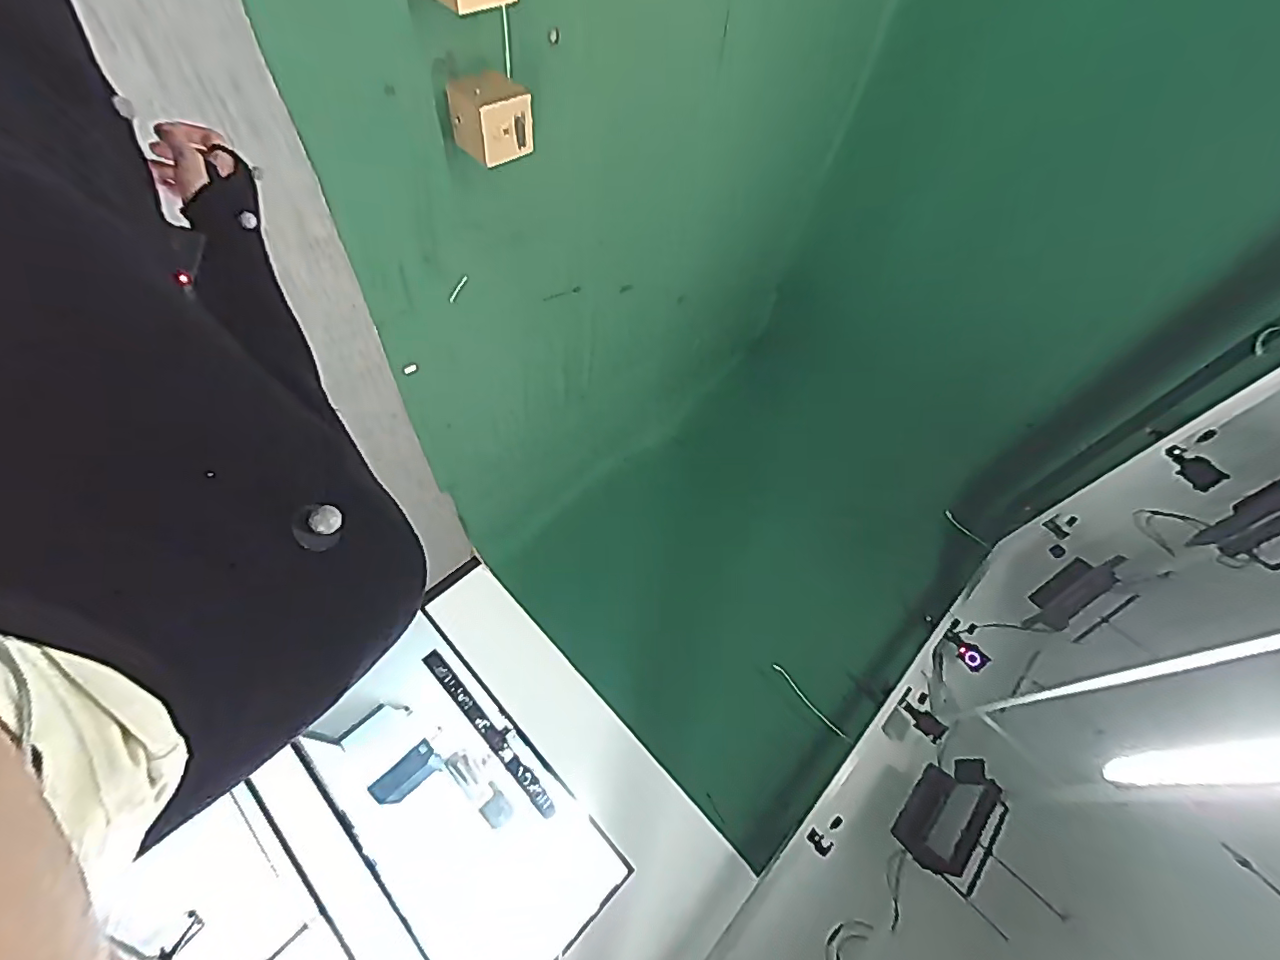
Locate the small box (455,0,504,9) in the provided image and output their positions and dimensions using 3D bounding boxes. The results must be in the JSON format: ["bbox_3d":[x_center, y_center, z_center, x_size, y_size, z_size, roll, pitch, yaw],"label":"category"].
[{"bbox_3d":[-0.407,-1.251,1.267,0.179,0.176,0.168,-39,160,-24],"label":"small box"}]
